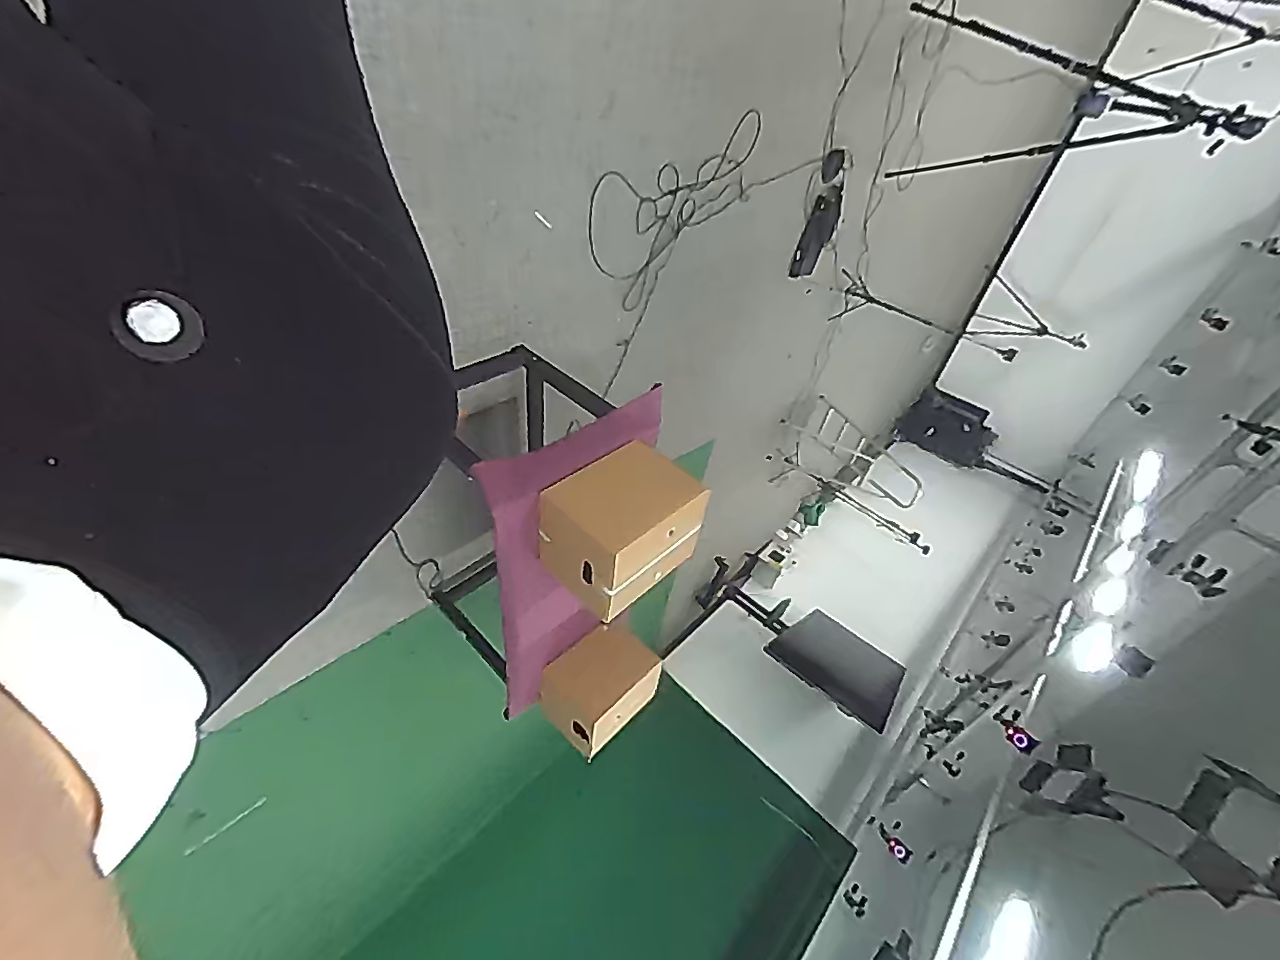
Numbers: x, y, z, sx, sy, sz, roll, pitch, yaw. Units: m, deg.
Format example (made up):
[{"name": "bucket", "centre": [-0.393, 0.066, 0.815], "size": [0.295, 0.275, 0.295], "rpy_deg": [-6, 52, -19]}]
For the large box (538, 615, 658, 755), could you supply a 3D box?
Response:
[{"name": "large box", "centre": [-0.183, 0.859, 2.305], "size": [0.408, 0.320, 0.320], "rpy_deg": [-30, 143, -38]}]
